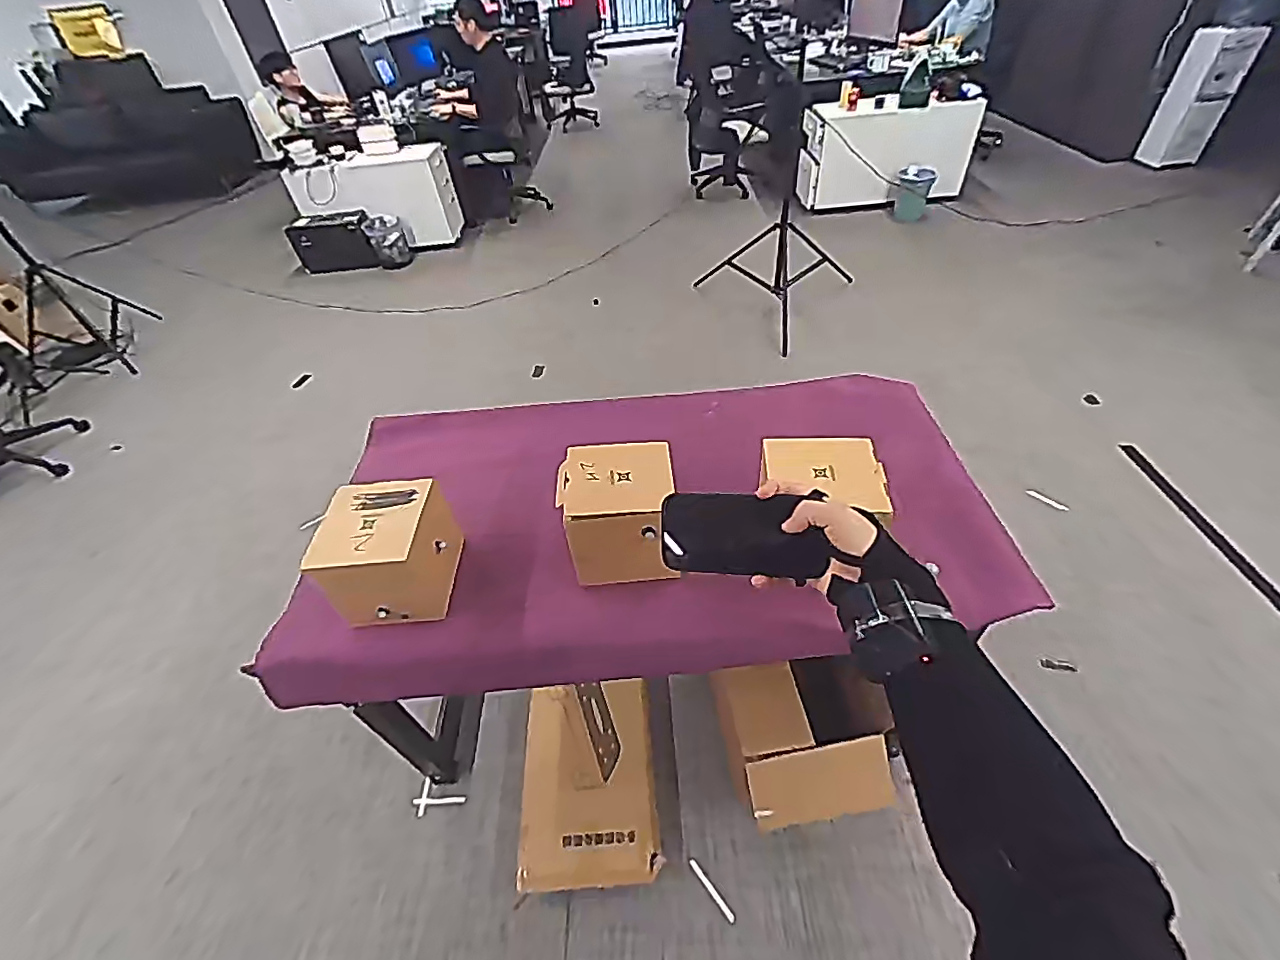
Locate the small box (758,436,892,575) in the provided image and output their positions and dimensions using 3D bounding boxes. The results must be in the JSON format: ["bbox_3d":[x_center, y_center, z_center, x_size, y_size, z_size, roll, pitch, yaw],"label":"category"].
[{"bbox_3d":[0.290,0.045,0.896,0.179,0.176,0.168,-1,45,6],"label":"small box"}]

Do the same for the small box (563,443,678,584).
[{"bbox_3d":[-0.027,0.058,0.920,0.179,0.176,0.168,-6,42,1],"label":"small box"}]
